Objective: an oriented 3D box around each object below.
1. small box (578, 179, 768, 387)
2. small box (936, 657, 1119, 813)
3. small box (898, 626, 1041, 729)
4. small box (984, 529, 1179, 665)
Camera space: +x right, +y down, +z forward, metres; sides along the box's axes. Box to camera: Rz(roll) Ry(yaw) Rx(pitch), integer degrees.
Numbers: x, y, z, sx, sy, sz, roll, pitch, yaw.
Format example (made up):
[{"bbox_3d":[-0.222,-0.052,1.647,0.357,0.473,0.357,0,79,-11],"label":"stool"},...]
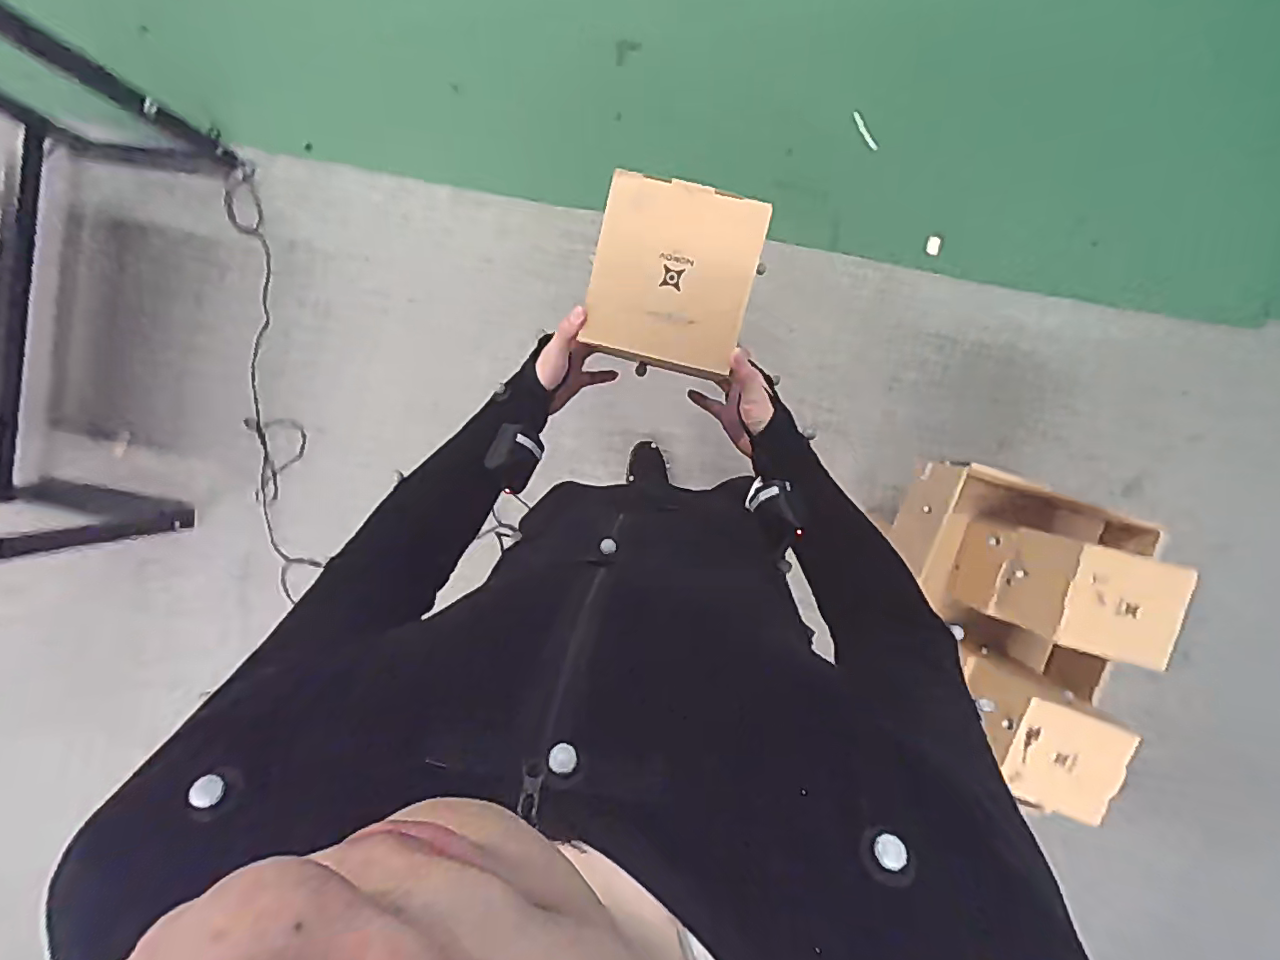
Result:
[{"bbox_3d":[0.035,-0.214,0.636,0.168,0.176,0.179,13,99,1],"label":"small box"},{"bbox_3d":[0.683,0.445,0.975,0.179,0.176,0.168,21,96,2],"label":"small box"},{"bbox_3d":[0.684,0.430,1.140,0.179,0.176,0.168,18,95,3],"label":"small box"},{"bbox_3d":[0.758,0.194,0.948,0.179,0.176,0.168,16,95,2],"label":"small box"}]
